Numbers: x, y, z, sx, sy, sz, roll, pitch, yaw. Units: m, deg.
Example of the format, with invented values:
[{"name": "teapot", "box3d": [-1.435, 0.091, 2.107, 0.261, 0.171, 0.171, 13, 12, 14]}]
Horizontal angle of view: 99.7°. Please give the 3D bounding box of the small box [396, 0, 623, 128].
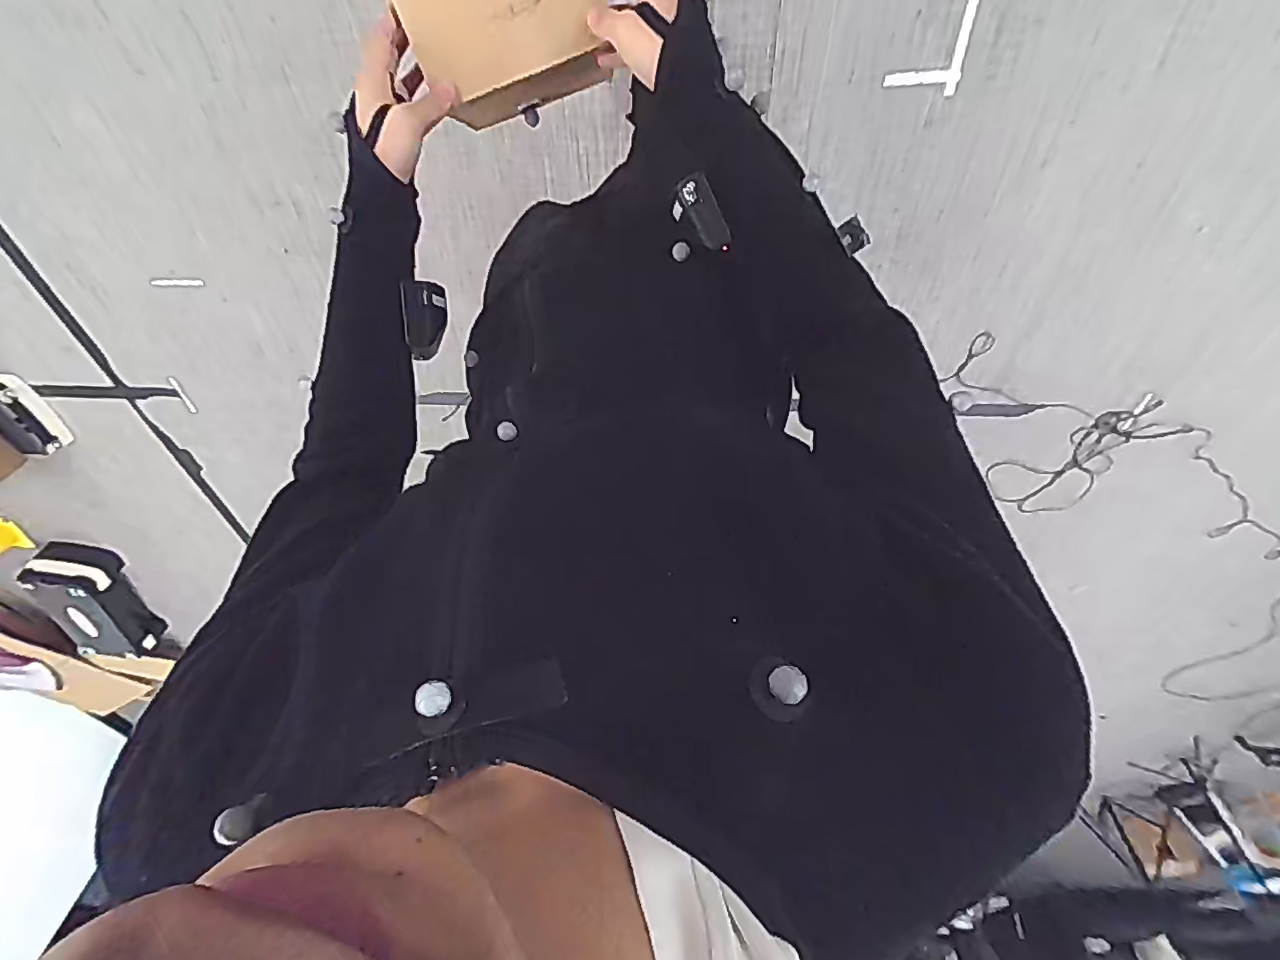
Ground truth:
[{"name": "small box", "box3d": [-0.122, -0.444, 0.477, 0.168, 0.176, 0.179, -18, 117, 6]}]
